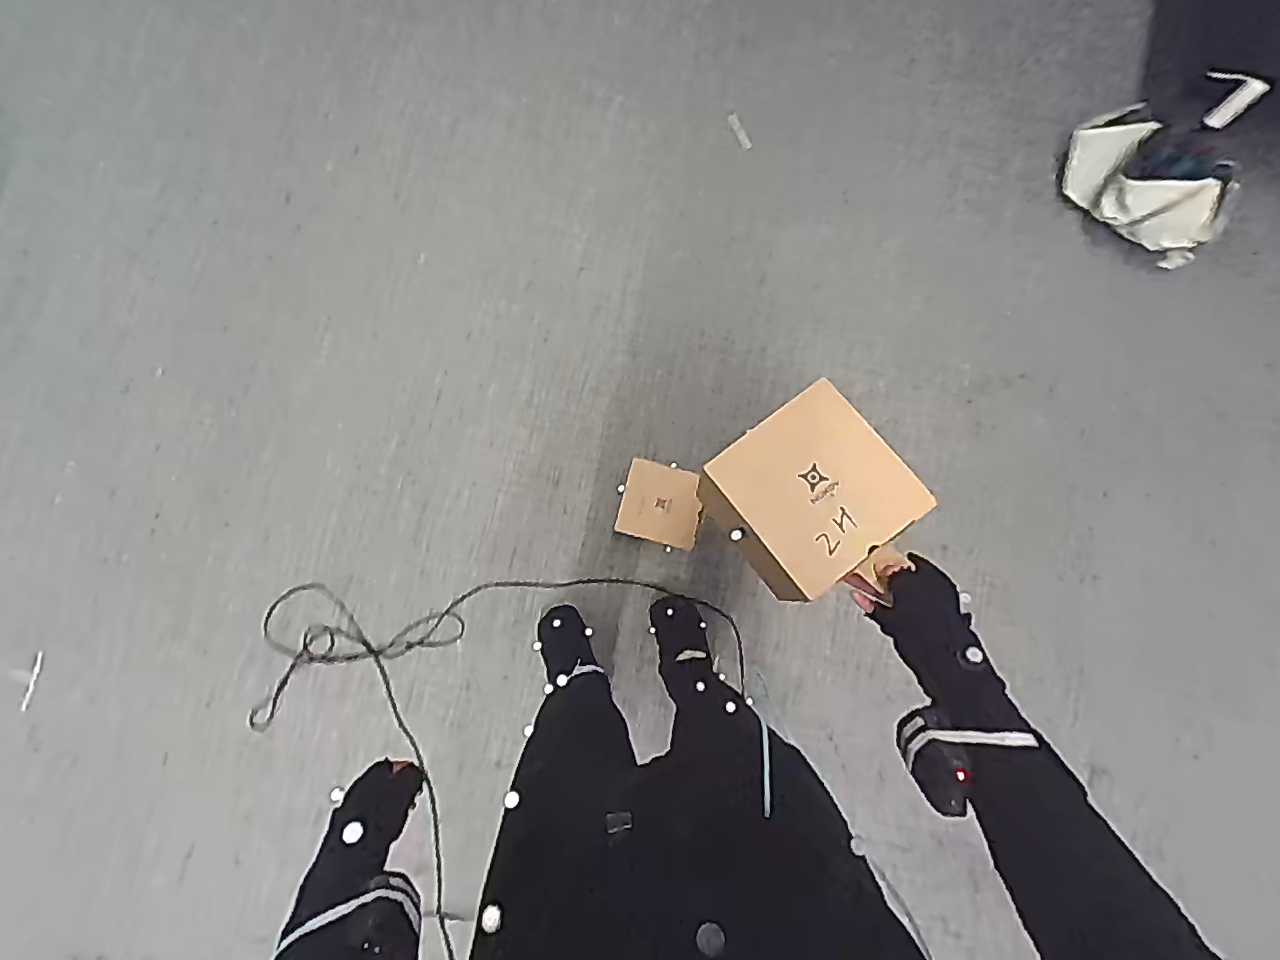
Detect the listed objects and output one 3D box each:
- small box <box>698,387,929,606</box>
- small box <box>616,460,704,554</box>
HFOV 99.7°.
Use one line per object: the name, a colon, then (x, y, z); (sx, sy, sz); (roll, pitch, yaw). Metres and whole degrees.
small box: (0.181, 0.030, 0.631); (0.168, 0.176, 0.179); (-38, 79, -4)
small box: (0.050, 0.062, 1.234); (0.179, 0.176, 0.168); (16, 84, 0)
